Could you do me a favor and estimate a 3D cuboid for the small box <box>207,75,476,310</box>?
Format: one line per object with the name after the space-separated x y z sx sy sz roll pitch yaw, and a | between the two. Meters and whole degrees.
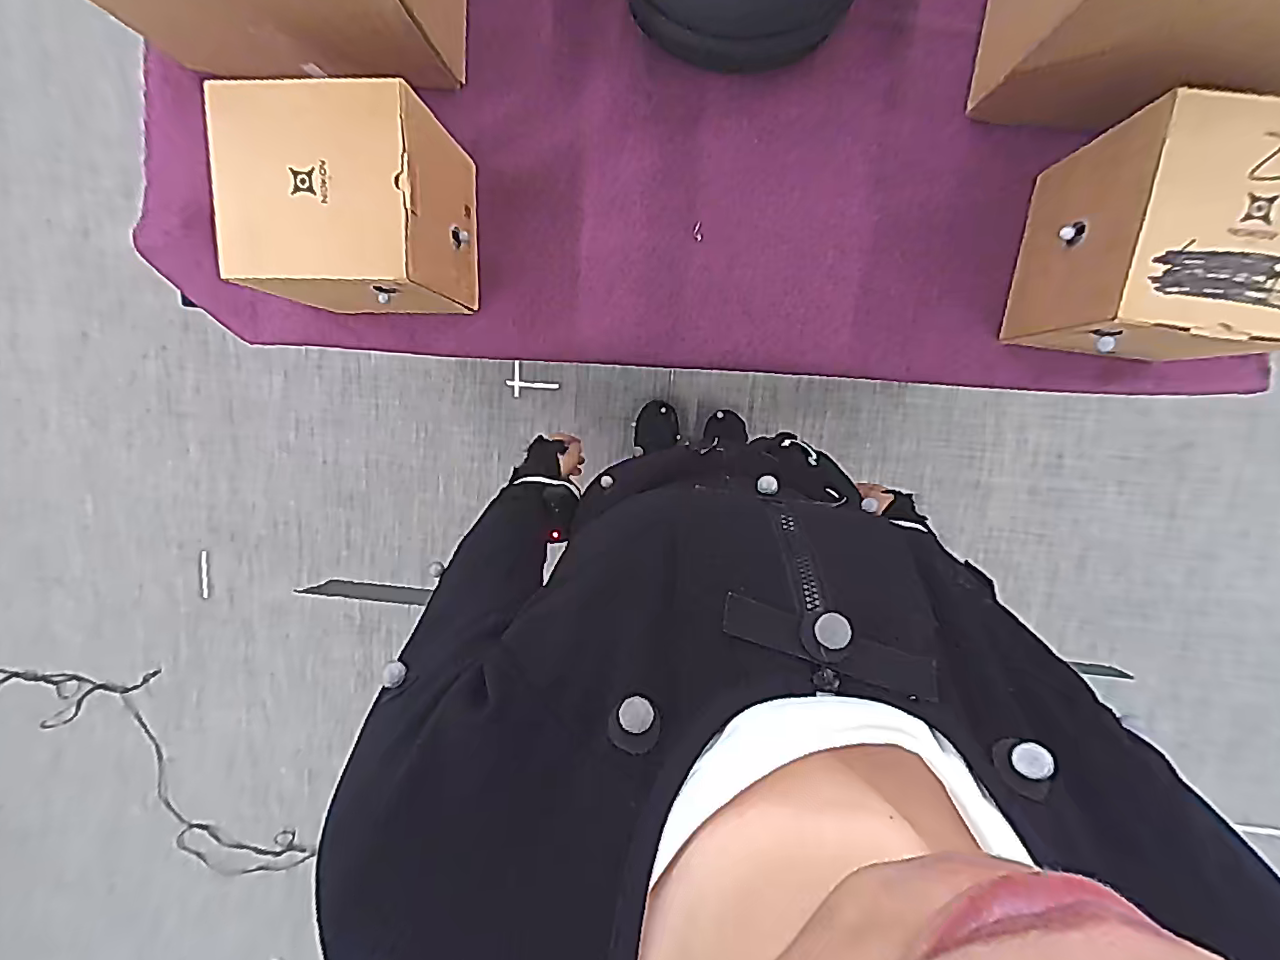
-0.283 -0.270 0.548 0.179 0.176 0.168 1 98 3 | small box

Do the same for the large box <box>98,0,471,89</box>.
-0.334 -0.614 0.427 0.320 0.320 0.408 4 101 2 | large box
